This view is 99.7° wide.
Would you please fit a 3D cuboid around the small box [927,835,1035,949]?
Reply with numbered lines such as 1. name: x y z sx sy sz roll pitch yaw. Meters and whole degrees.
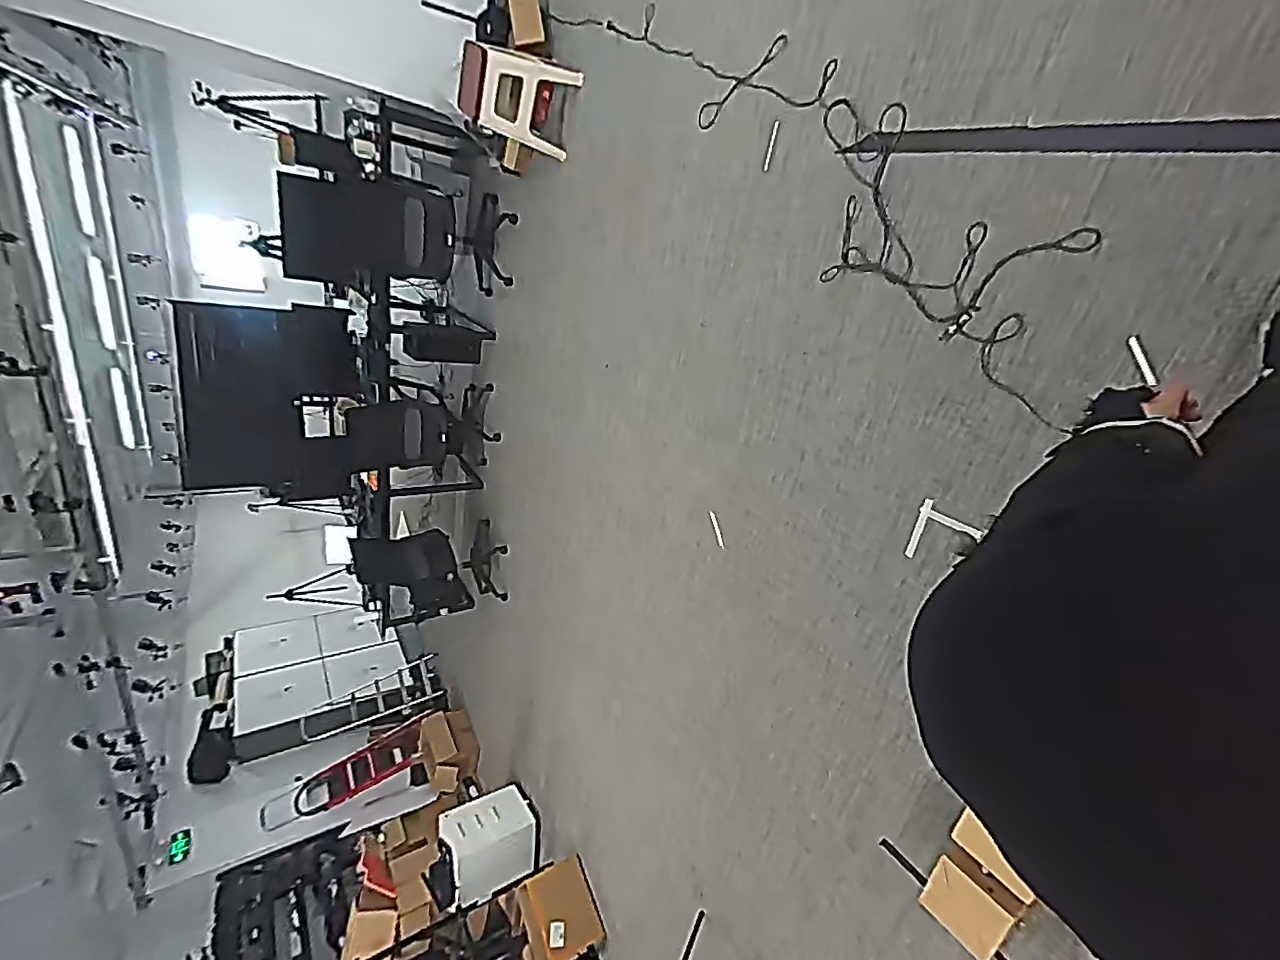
1. small box: 0.842 0.992 1.327 0.168 0.176 0.179 34 122 47
